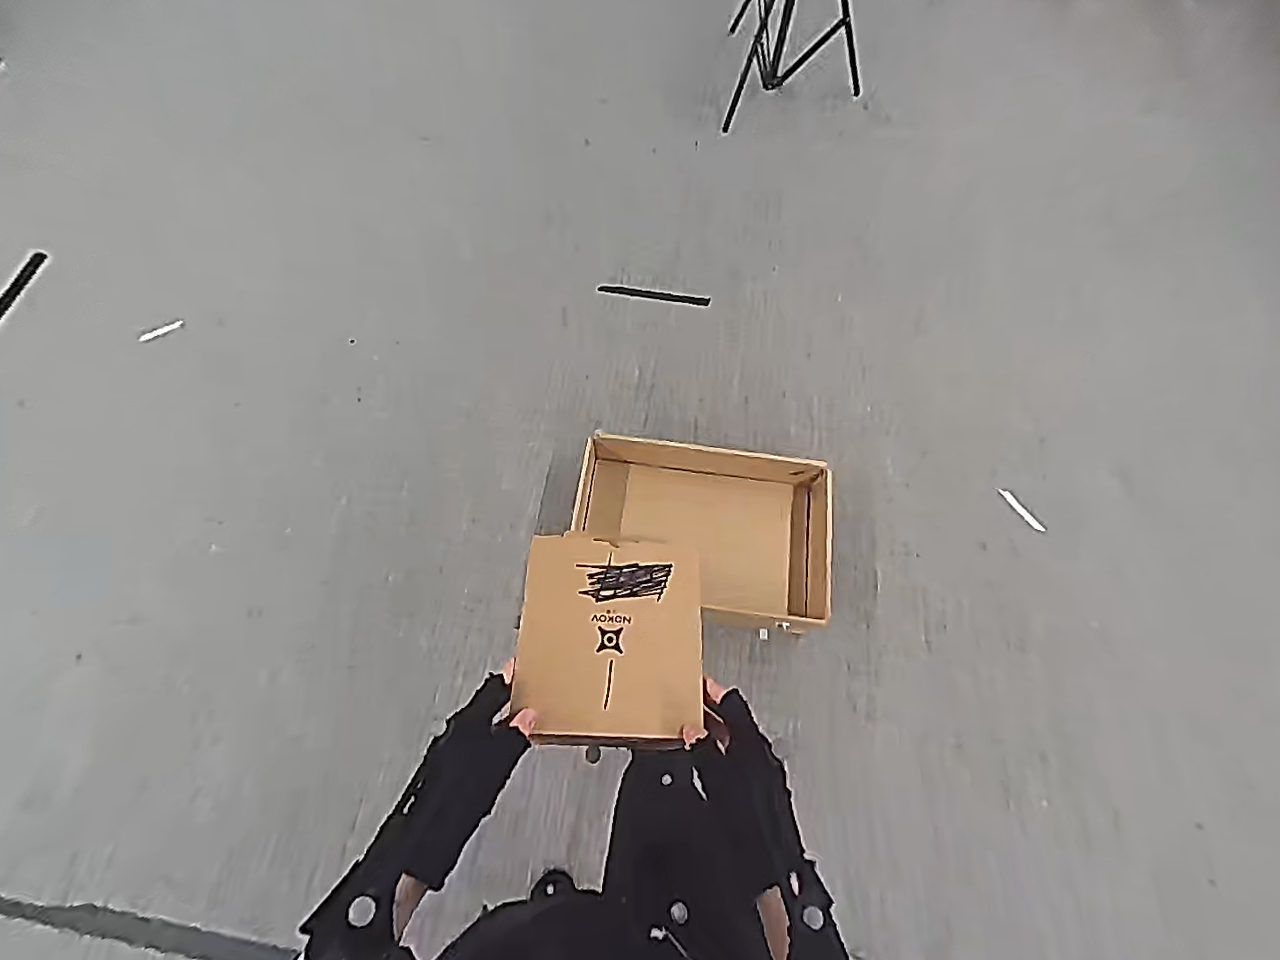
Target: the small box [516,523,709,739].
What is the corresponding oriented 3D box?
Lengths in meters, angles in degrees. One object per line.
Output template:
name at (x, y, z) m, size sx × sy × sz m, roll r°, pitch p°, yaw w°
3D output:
small box at (-0.029, 0.163, 0.561) m, size 0.168 × 0.176 × 0.179 m, roll 4°, pitch 61°, yaw -5°
